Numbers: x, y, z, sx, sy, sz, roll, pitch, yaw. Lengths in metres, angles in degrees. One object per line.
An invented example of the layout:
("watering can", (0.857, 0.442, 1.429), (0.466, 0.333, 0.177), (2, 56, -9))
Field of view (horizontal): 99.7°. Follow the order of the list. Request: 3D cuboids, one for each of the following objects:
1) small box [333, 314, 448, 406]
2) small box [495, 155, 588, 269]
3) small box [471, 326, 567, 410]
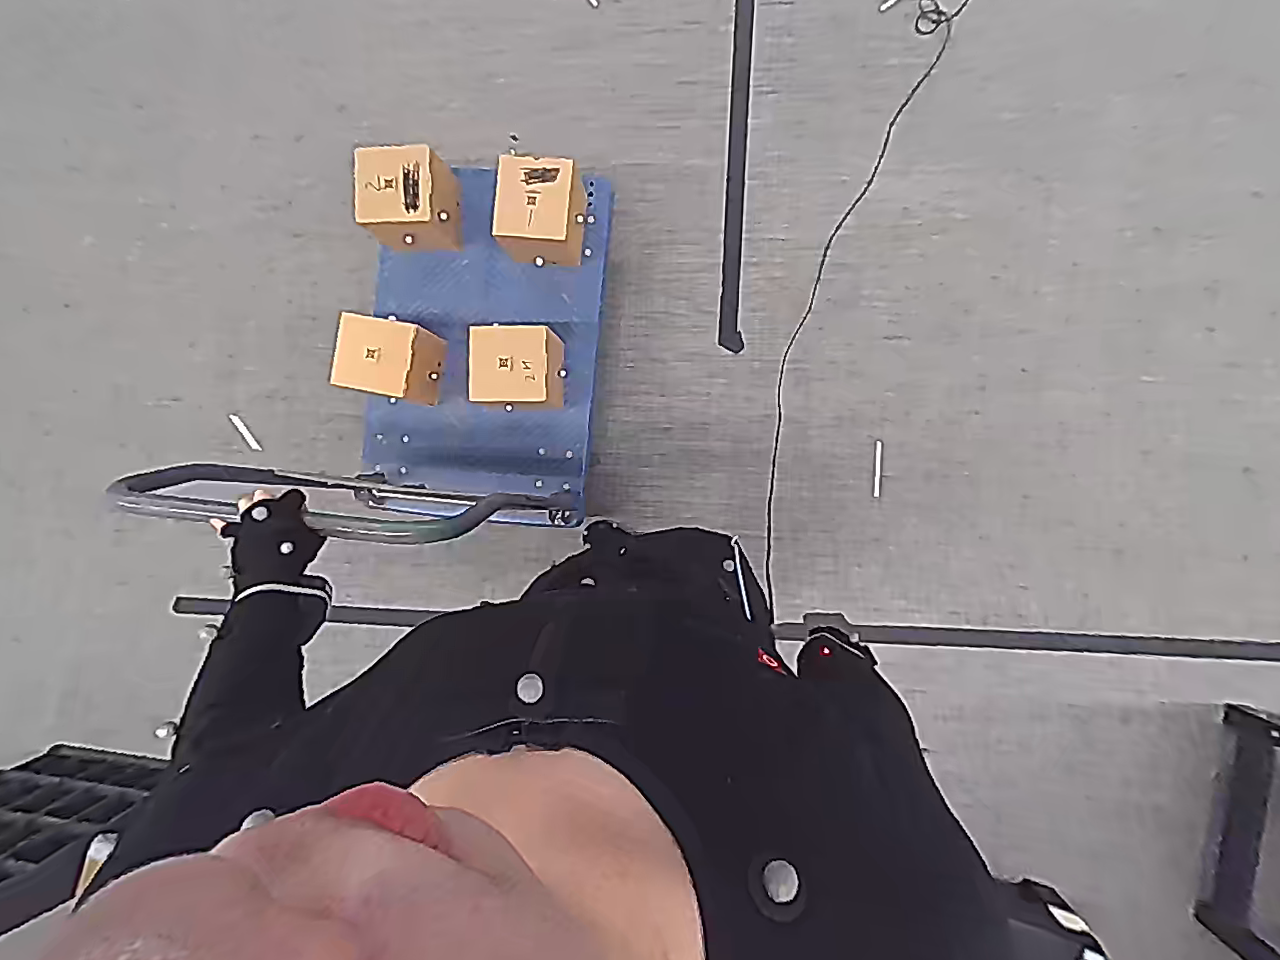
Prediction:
("small box", (-0.582, -0.277, 1.280), (0.179, 0.176, 0.168), (10, 91, 2))
("small box", (-0.220, -0.610, 1.243), (0.168, 0.176, 0.179), (6, 93, 5))
("small box", (-0.275, -0.253, 1.254), (0.179, 0.176, 0.168), (1, 91, 5))
